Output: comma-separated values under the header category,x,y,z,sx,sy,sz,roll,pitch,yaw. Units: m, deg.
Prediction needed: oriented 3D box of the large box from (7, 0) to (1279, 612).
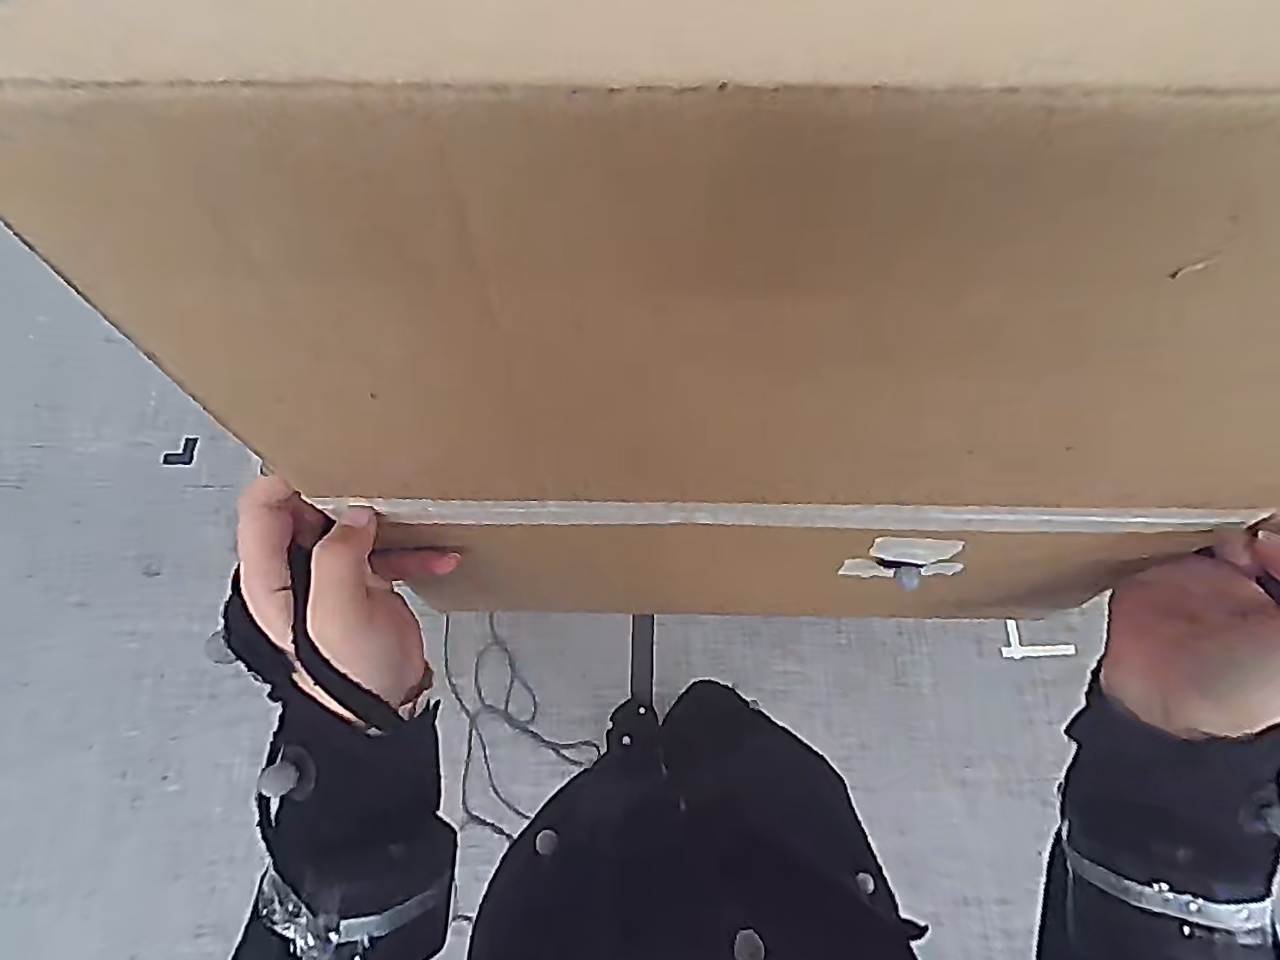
category,x,y,z,sx,sy,sz,roll,pitch,yaw
large box,0.059,-0.119,0.315,0.408,0.320,0.320,0,60,1
